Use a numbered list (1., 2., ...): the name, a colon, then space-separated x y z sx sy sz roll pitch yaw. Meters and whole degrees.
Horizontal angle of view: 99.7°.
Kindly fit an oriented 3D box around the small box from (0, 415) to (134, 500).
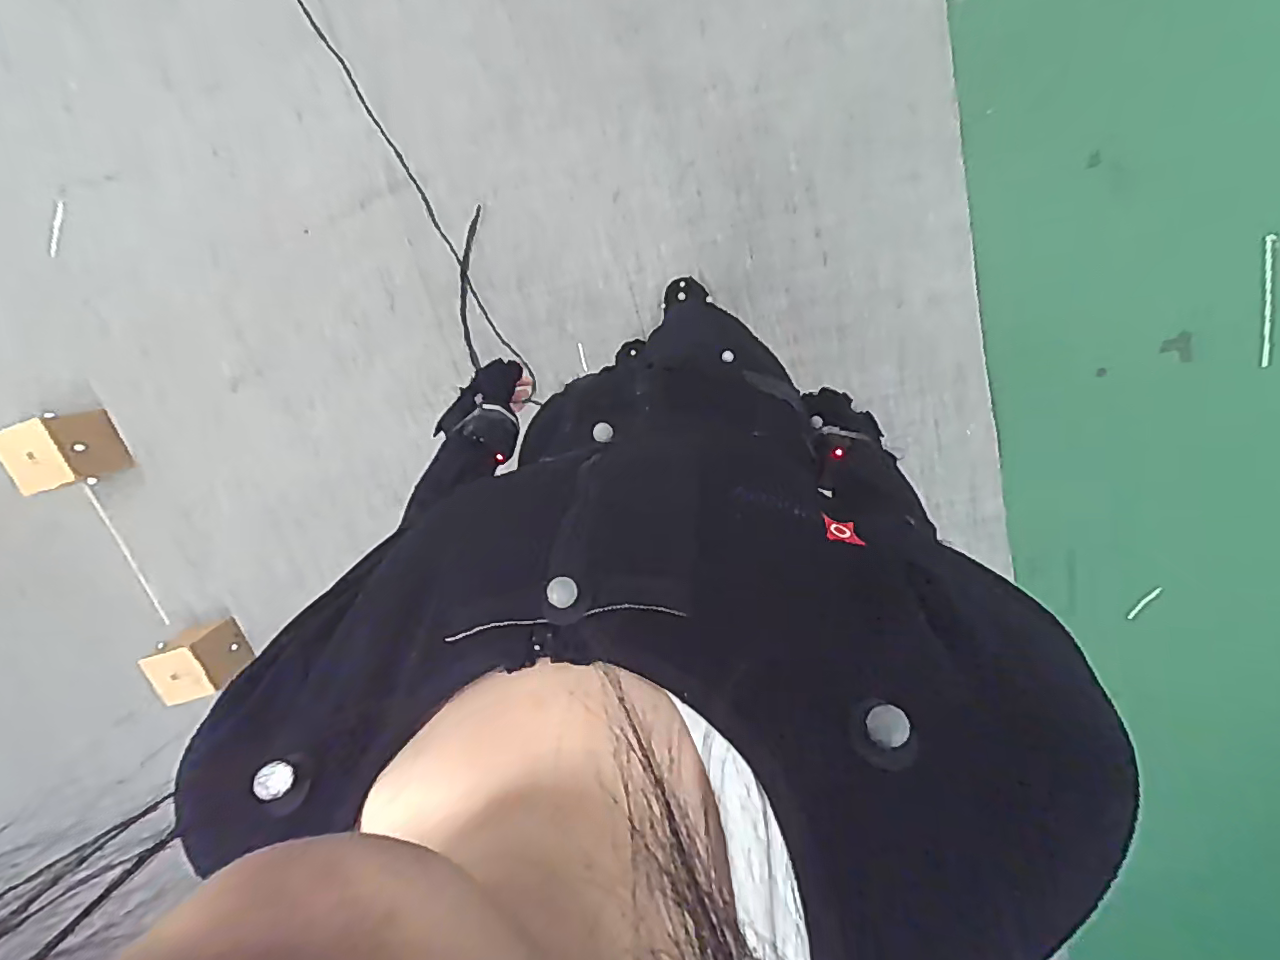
1. small box: -1.552 -0.070 1.464 0.168 0.176 0.179 -17 106 7

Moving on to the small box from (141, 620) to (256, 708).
1. small box: -1.329 0.554 1.641 0.179 0.176 0.168 -17 105 7
